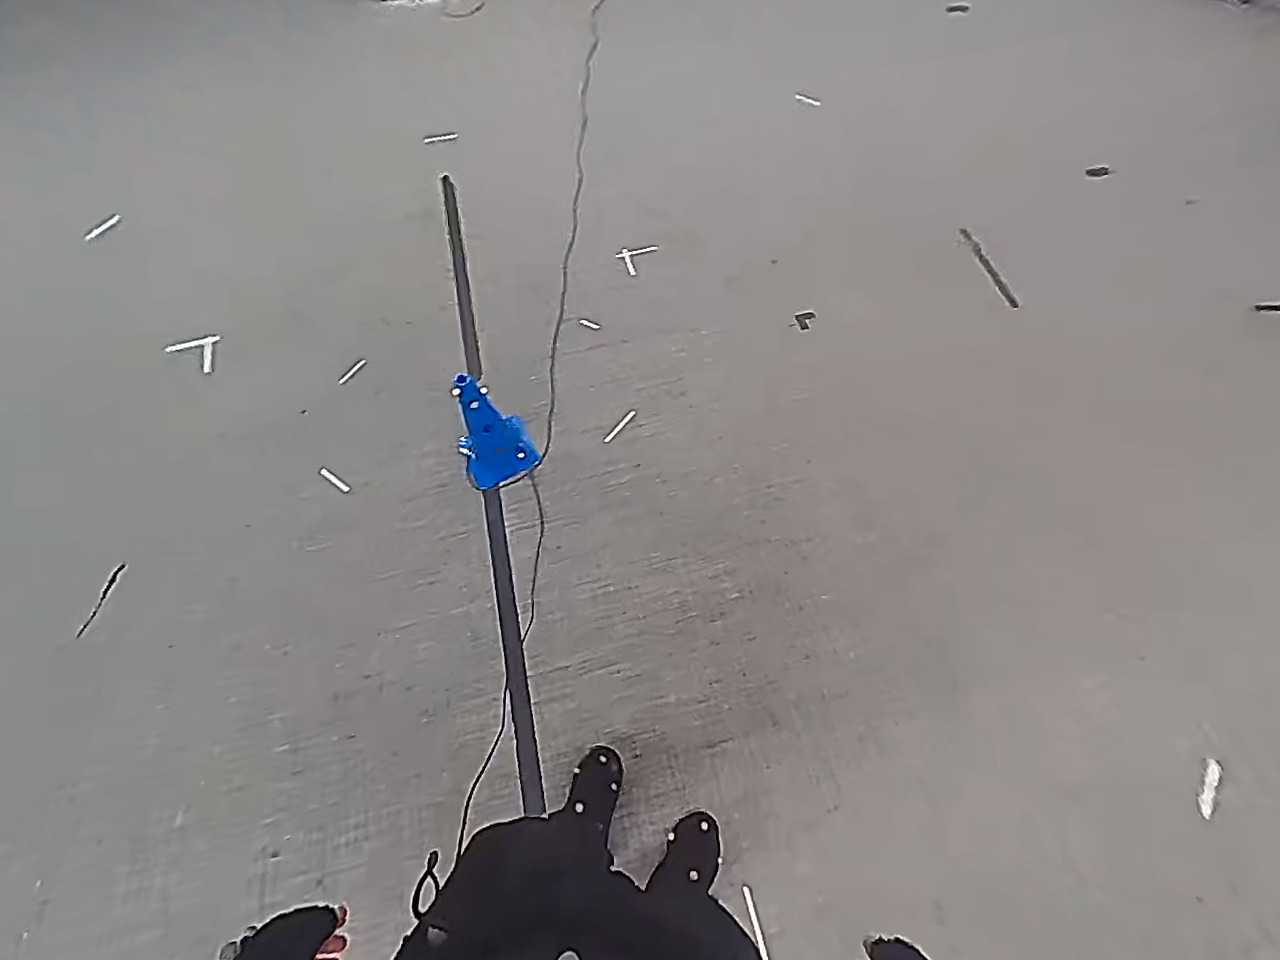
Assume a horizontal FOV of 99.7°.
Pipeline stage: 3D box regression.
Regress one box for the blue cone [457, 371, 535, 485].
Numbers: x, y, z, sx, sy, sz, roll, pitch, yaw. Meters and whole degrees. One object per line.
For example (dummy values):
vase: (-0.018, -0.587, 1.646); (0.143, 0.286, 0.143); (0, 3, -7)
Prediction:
blue cone: (-0.427, -0.169, 1.459); (0.193, 0.380, 0.192); (-28, 66, -13)
